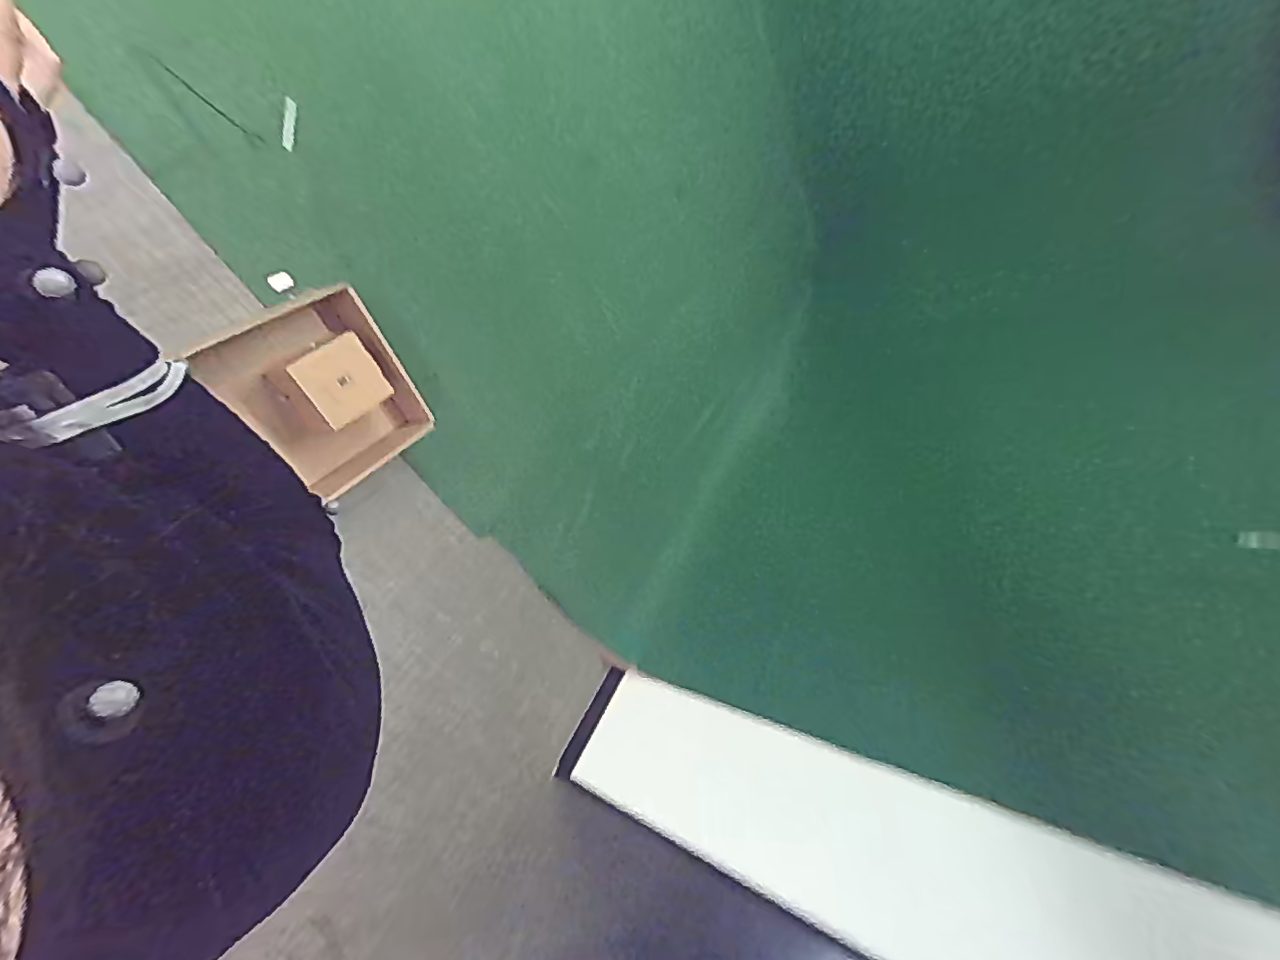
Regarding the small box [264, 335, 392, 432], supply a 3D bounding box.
[{"bbox_3d":[-0.746,-0.230,1.293,0.179,0.176,0.168,-49,128,-35],"label":"small box"}]
